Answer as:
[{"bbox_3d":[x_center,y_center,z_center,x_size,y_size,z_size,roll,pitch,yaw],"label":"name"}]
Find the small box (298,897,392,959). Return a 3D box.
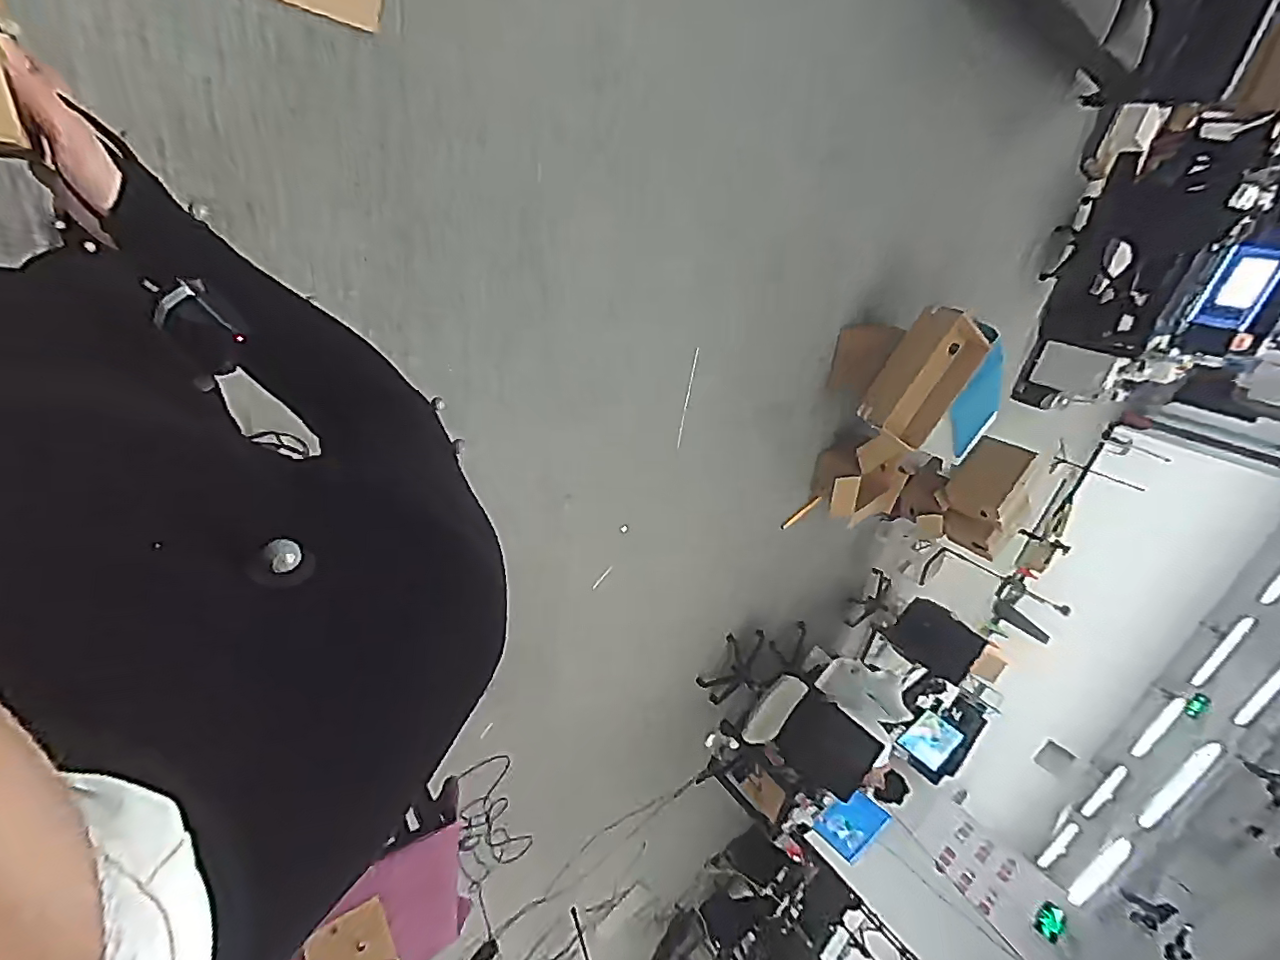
[{"bbox_3d":[-0.710,1.164,1.304,0.168,0.176,0.179,-11,124,-39],"label":"small box"}]

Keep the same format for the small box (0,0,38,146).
[{"bbox_3d":[-0.522,-0.323,0.333,0.168,0.176,0.179,-15,118,-39],"label":"small box"}]
